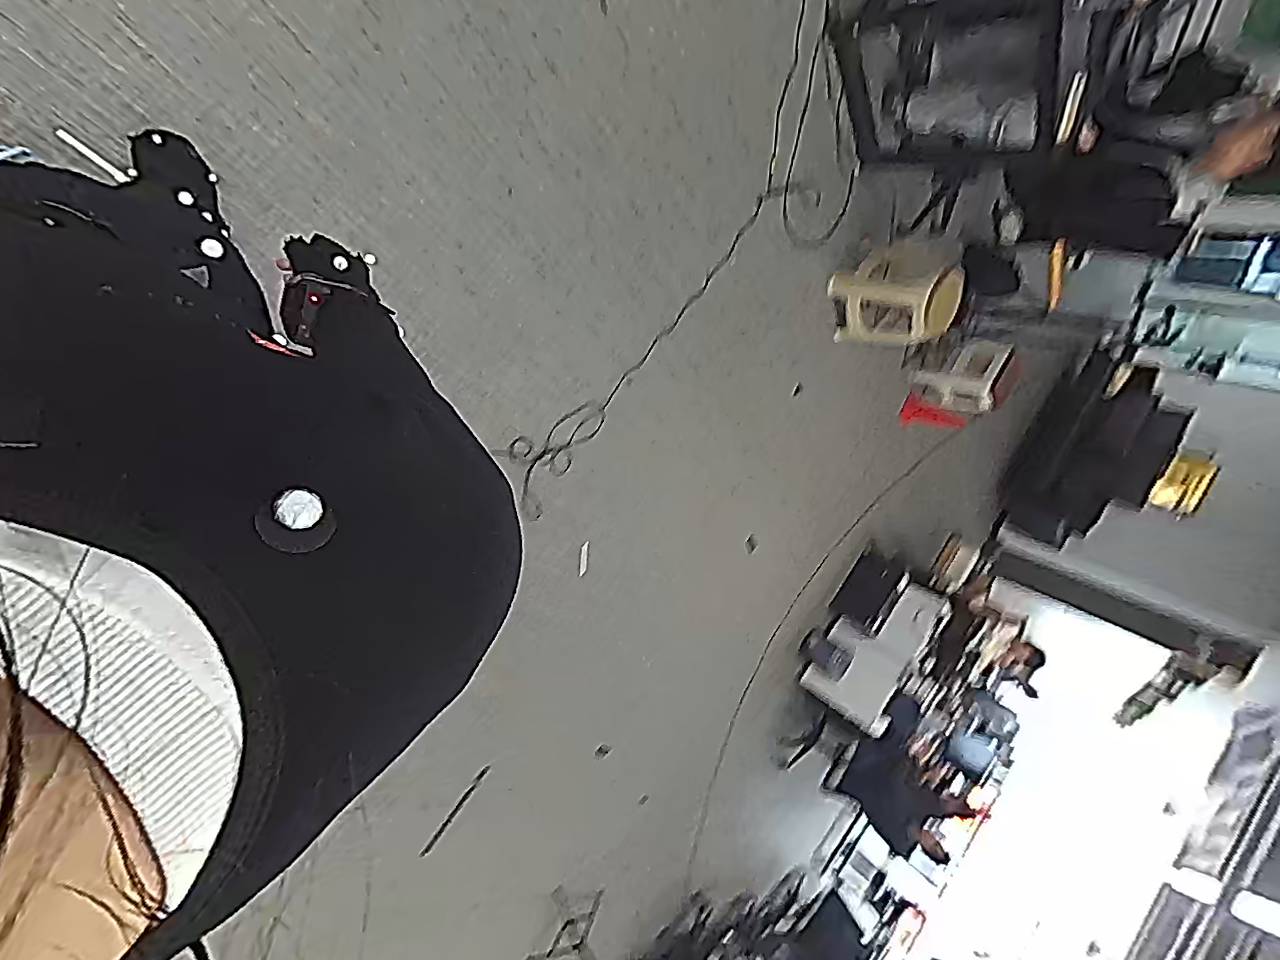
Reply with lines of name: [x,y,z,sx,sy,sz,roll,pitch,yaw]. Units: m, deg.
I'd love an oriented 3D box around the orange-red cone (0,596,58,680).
orange-red cone: [-1.193,0.368,0.925,0.198,0.360,0.199,-50,137,-9]
